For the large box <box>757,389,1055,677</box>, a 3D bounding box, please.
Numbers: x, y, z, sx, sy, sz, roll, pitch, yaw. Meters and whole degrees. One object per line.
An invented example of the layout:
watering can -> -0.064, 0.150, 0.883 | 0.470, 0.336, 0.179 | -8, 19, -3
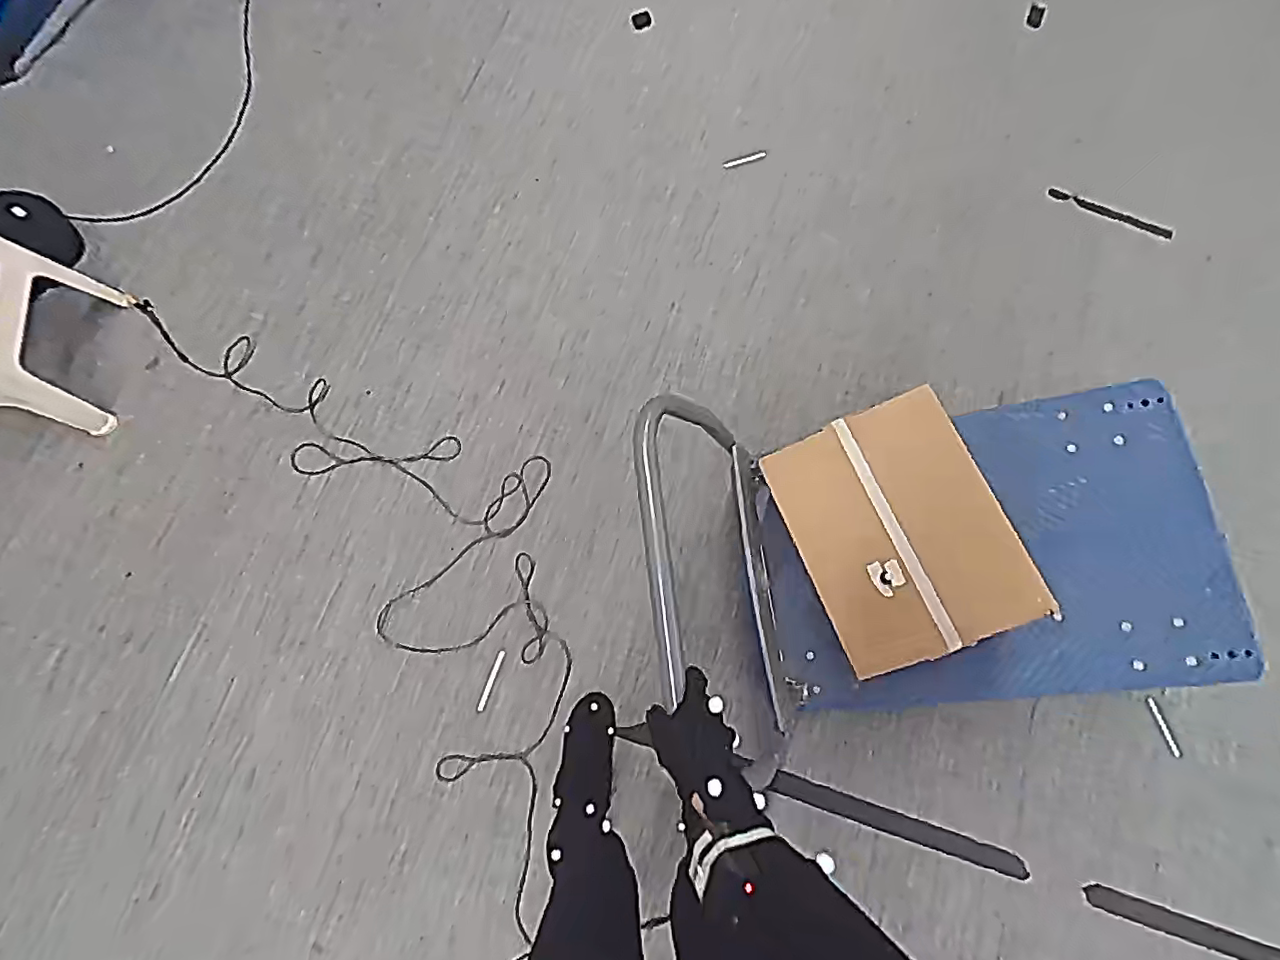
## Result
large box -> 0.462, 0.103, 1.037 | 0.320, 0.320, 0.408 | -27, 74, 13
